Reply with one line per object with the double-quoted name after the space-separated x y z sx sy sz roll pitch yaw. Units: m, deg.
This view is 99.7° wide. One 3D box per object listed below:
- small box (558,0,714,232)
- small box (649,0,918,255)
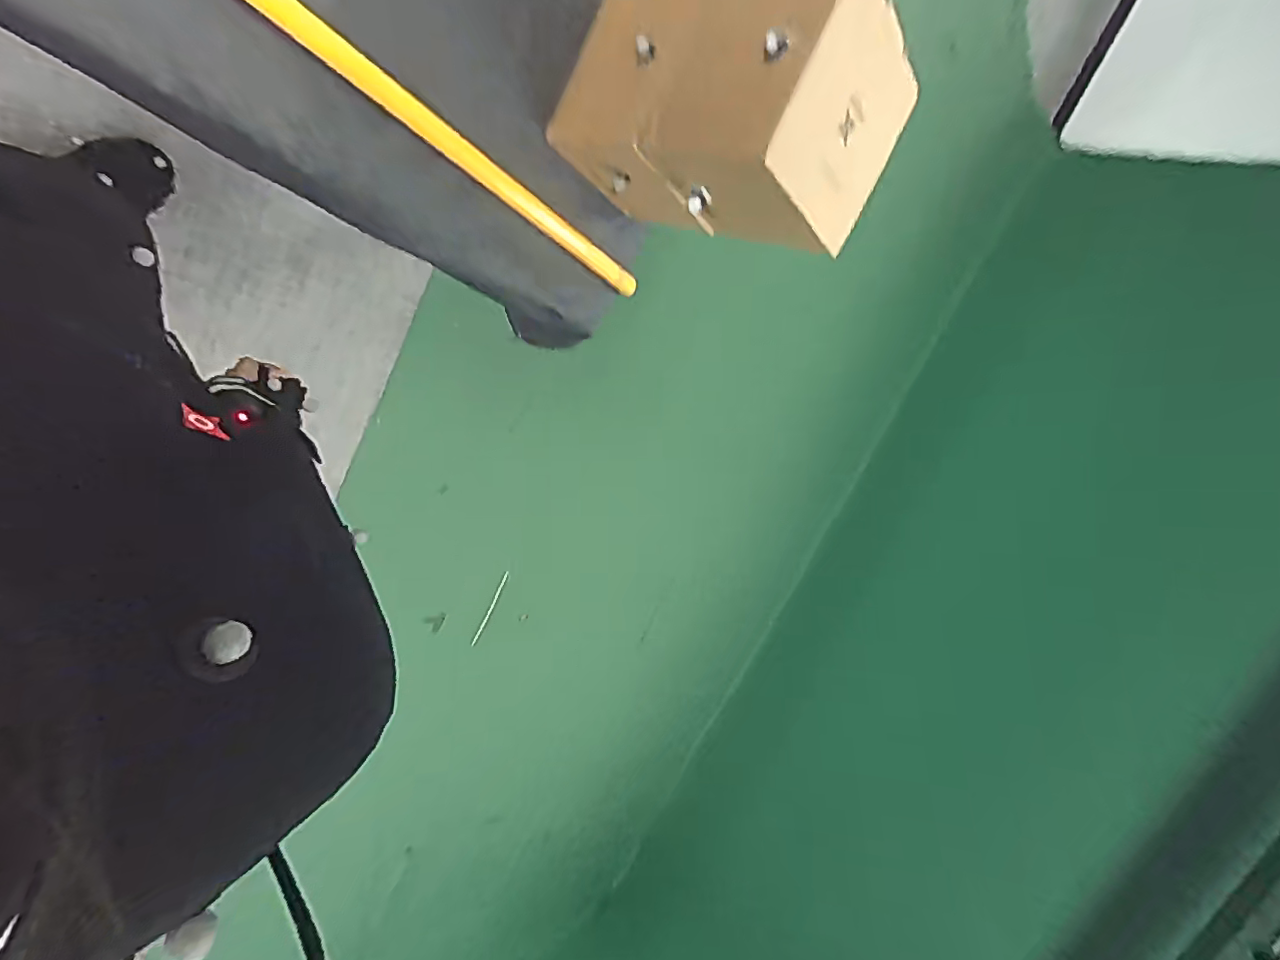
0.028 -0.428 0.639 0.168 0.176 0.179 19 101 -50 "small box"
0.138 -0.359 0.541 0.168 0.176 0.179 16 104 -49 "small box"
